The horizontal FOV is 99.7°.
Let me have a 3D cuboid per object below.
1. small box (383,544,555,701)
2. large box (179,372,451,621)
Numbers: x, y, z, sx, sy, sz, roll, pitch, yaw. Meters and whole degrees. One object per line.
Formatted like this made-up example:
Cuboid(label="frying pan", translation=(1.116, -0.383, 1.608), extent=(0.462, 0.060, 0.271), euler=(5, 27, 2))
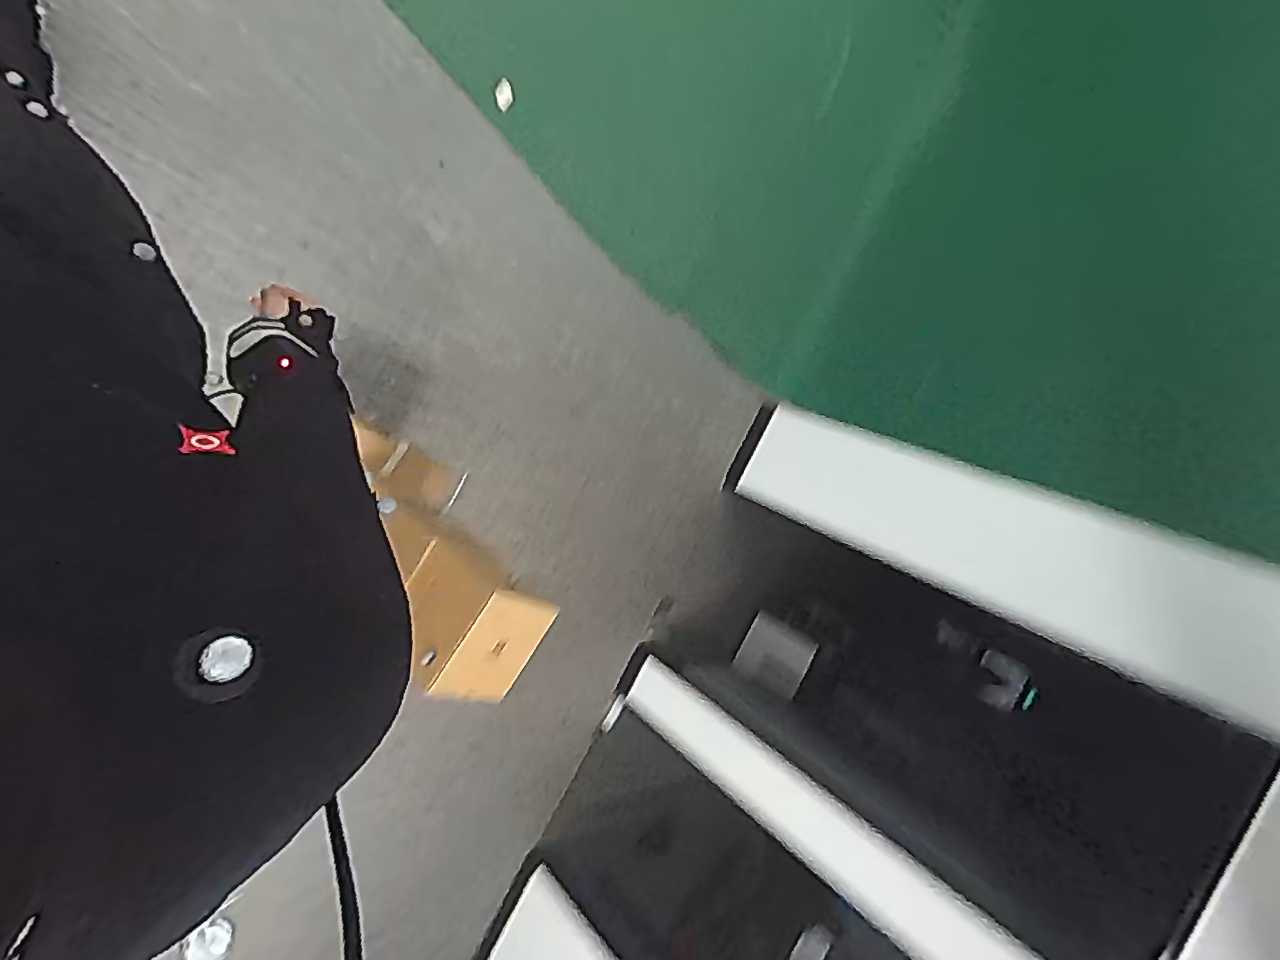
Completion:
Cuboid(label="small box", translation=(-0.281, 0.230, 0.881), extent=(0.179, 0.176, 0.168), euler=(-56, 144, -5))
Cuboid(label="large box", translation=(-0.712, 0.036, 1.202), extent=(0.408, 0.320, 0.320), euler=(-57, 142, -5))
